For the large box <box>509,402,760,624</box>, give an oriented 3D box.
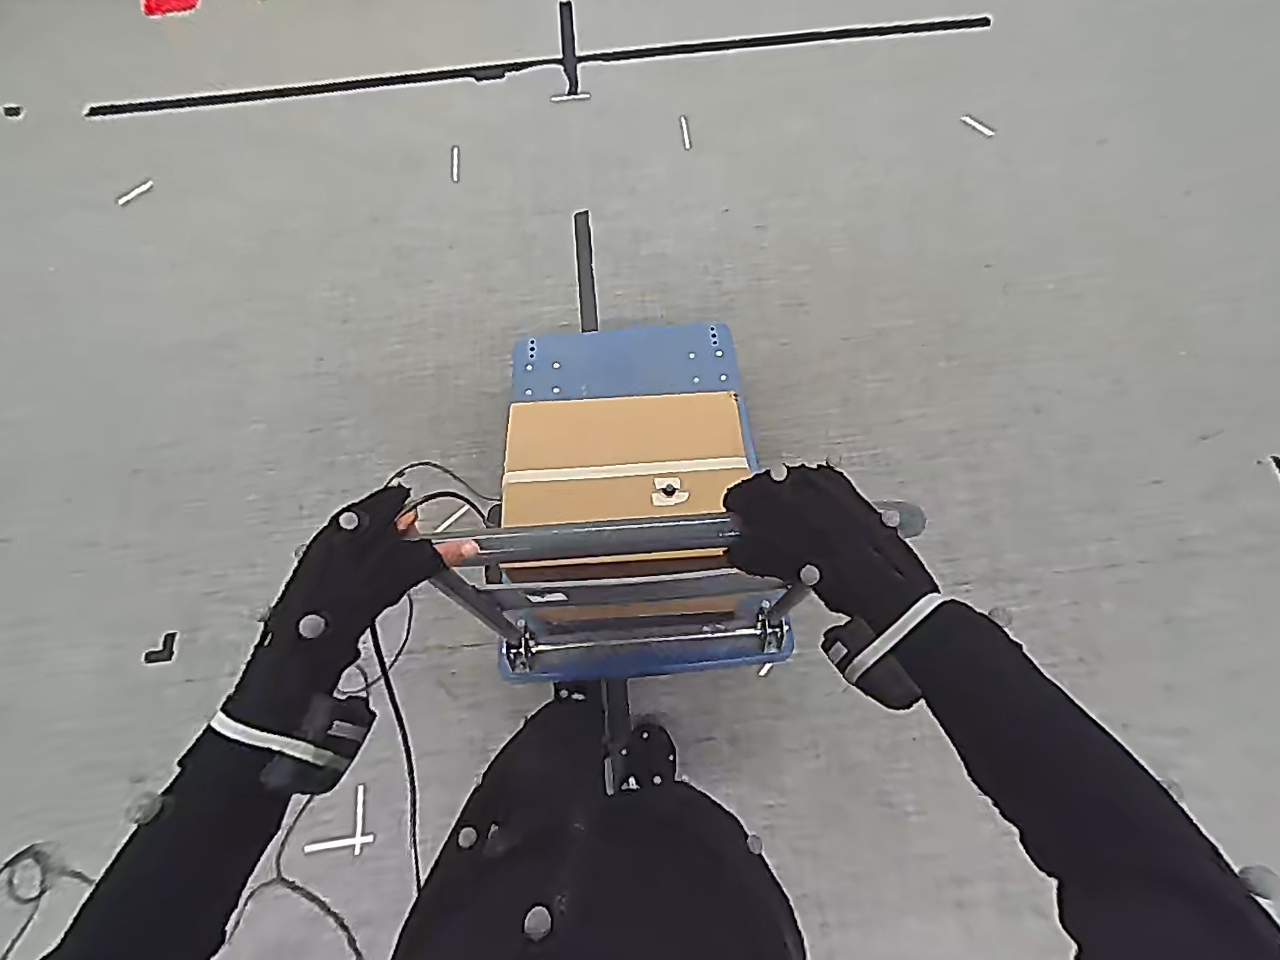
[{"bbox_3d":[-0.018,0.074,1.043,0.408,0.320,0.320,-3,61,-2],"label":"large box"}]
